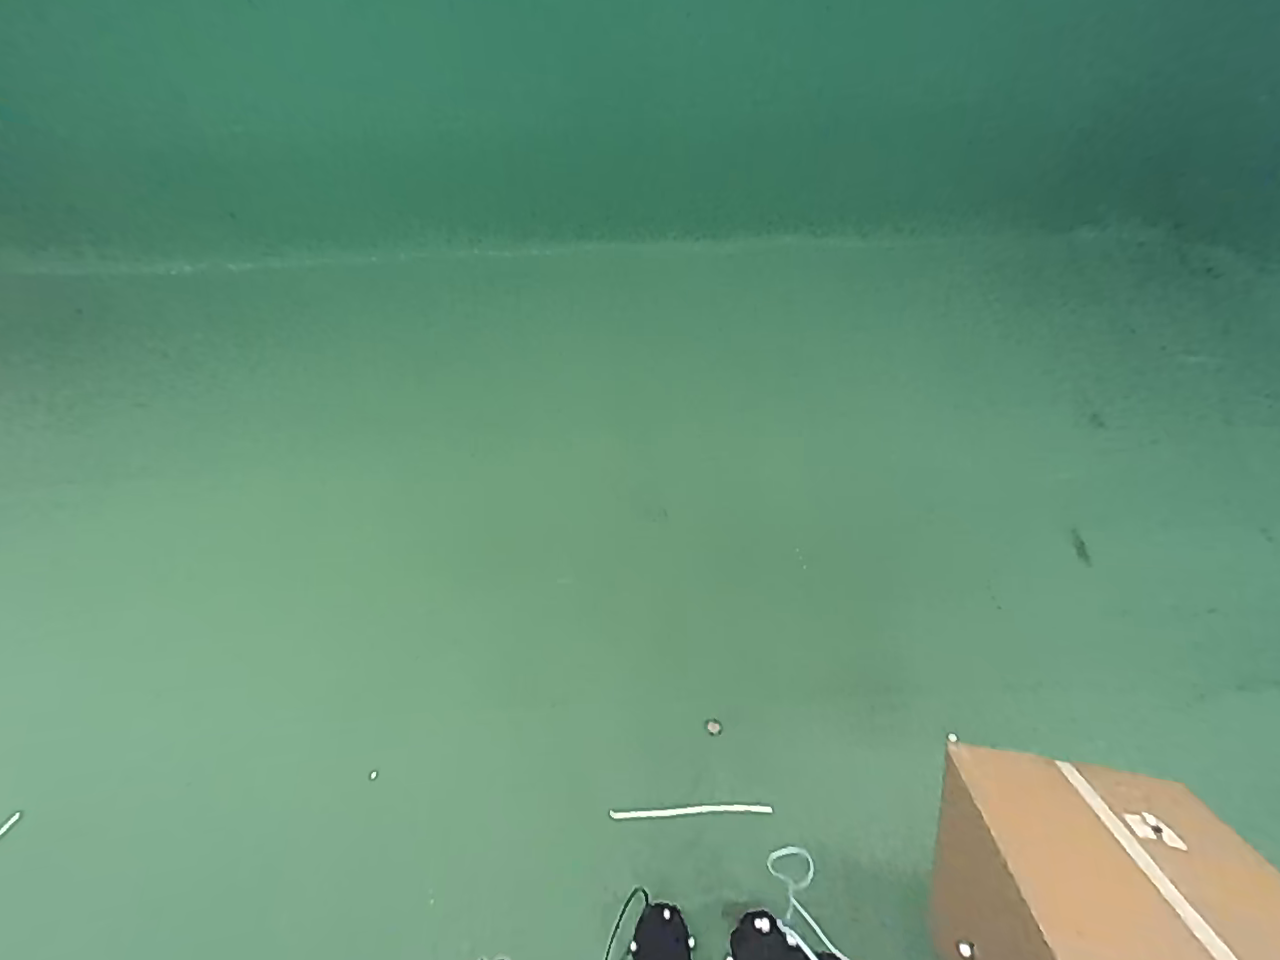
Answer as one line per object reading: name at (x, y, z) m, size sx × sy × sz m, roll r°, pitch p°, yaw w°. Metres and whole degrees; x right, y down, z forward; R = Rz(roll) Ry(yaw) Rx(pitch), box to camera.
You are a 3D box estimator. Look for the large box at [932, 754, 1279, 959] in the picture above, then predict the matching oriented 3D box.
large box at (0.579, 0.607, 0.645) m, size 0.320 × 0.408 × 0.320 m, roll 5°, pitch 95°, yaw 14°
